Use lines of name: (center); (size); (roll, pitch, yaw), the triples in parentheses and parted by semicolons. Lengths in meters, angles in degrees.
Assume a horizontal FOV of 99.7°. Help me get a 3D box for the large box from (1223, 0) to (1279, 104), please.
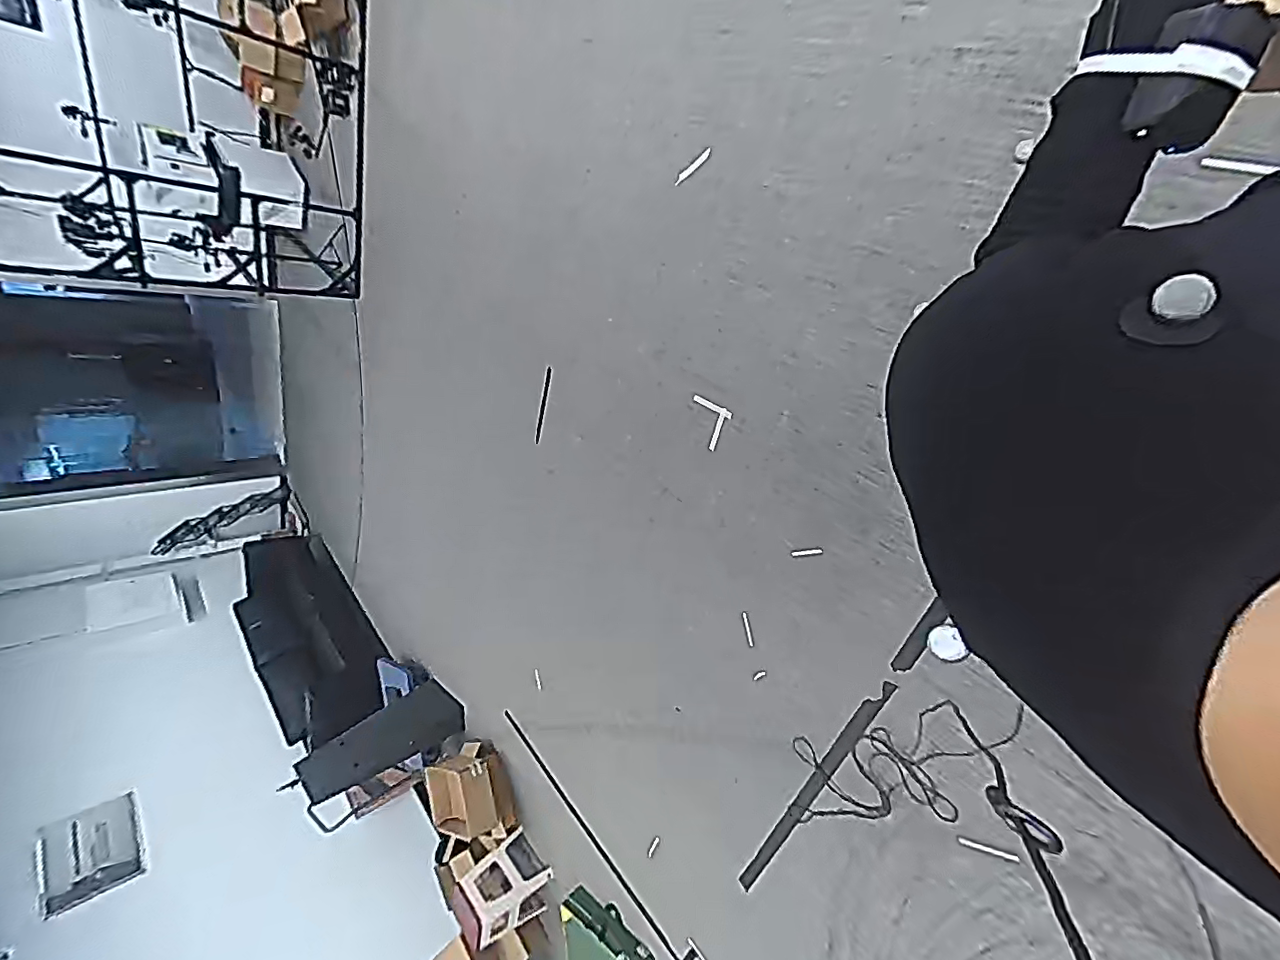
large box: (0.611, -0.370, 0.238); (0.408, 0.320, 0.320); (31, 129, 34)
